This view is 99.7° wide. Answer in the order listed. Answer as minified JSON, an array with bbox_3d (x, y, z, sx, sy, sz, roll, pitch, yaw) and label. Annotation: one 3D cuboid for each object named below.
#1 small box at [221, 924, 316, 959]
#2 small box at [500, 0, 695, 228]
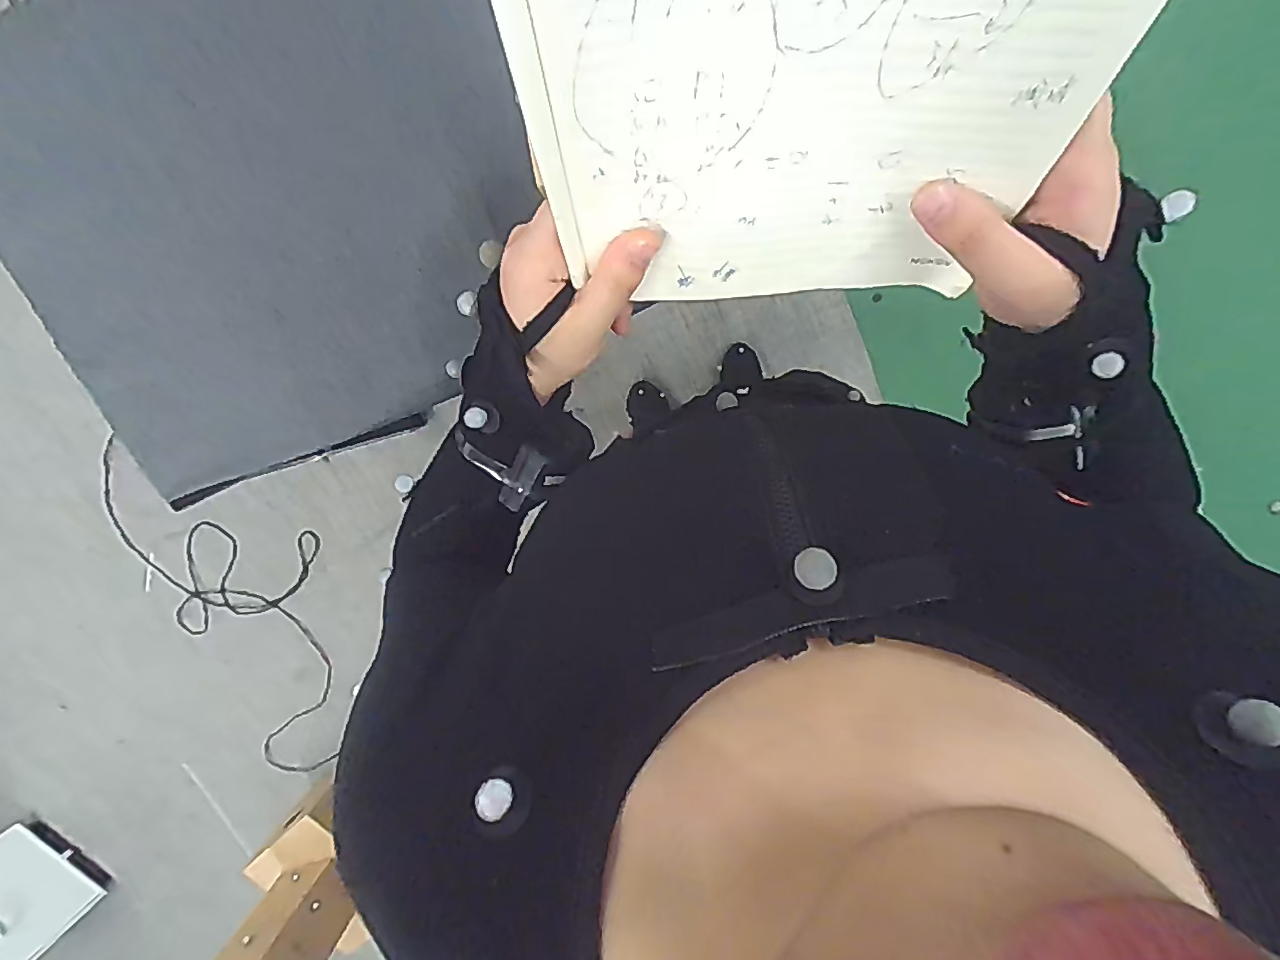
[{"bbox_3d":[-0.912,1.207,1.281,0.179,0.176,0.168,-21,101,10],"label":"small box"},{"bbox_3d":[-0.034,-0.398,0.589,0.168,0.176,0.179,-8,102,7],"label":"small box"}]
